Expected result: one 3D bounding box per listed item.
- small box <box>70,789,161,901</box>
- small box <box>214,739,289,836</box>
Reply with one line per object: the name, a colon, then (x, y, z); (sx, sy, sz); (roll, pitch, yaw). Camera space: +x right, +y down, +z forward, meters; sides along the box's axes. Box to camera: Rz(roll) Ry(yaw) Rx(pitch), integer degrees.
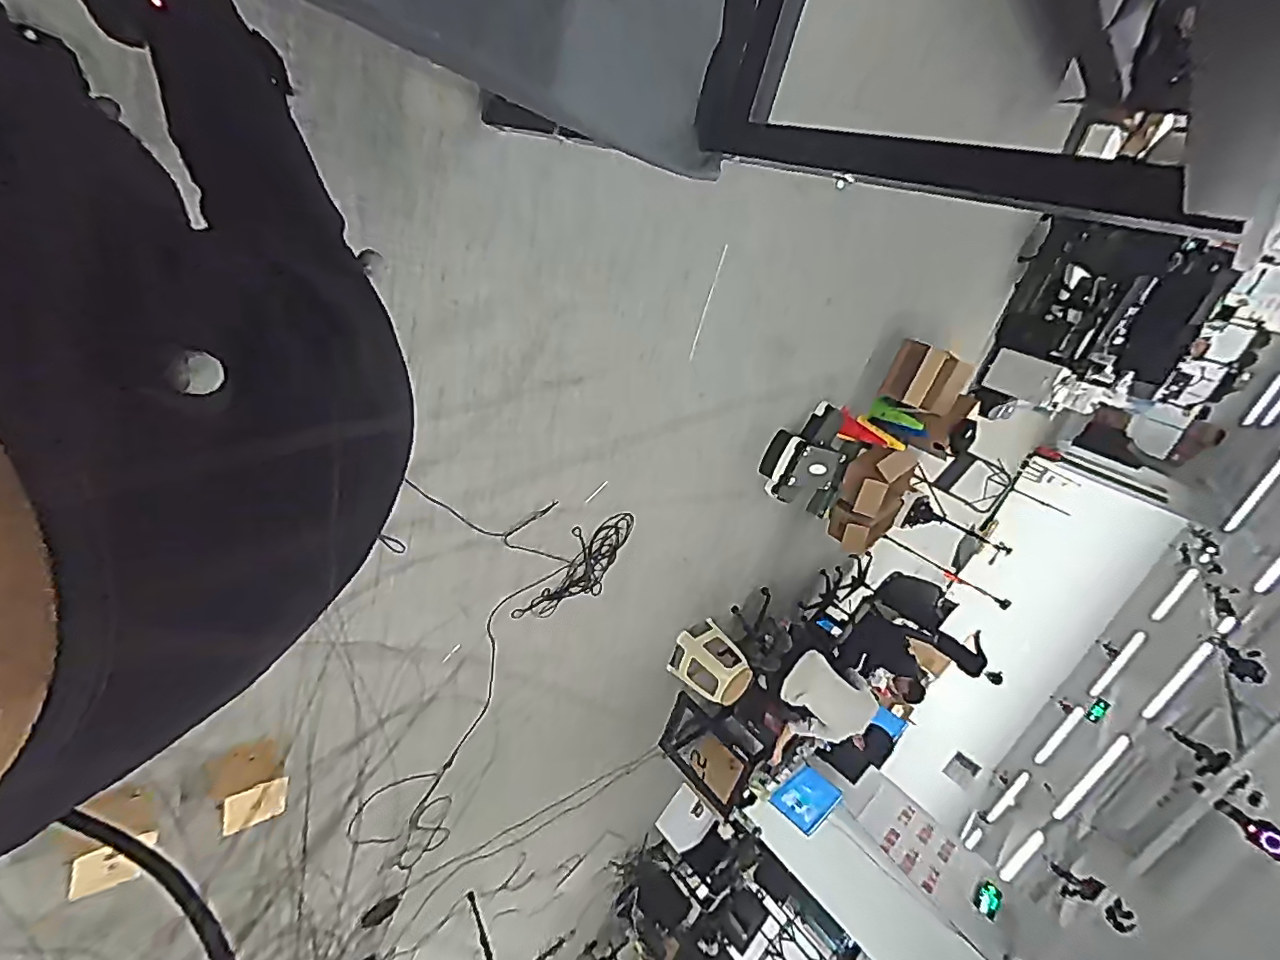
small box: (-1.466, 1.000, 1.508); (0.168, 0.176, 0.179); (4, 116, -48)
small box: (-1.247, 0.977, 1.733); (0.168, 0.176, 0.179); (-5, 121, -46)
